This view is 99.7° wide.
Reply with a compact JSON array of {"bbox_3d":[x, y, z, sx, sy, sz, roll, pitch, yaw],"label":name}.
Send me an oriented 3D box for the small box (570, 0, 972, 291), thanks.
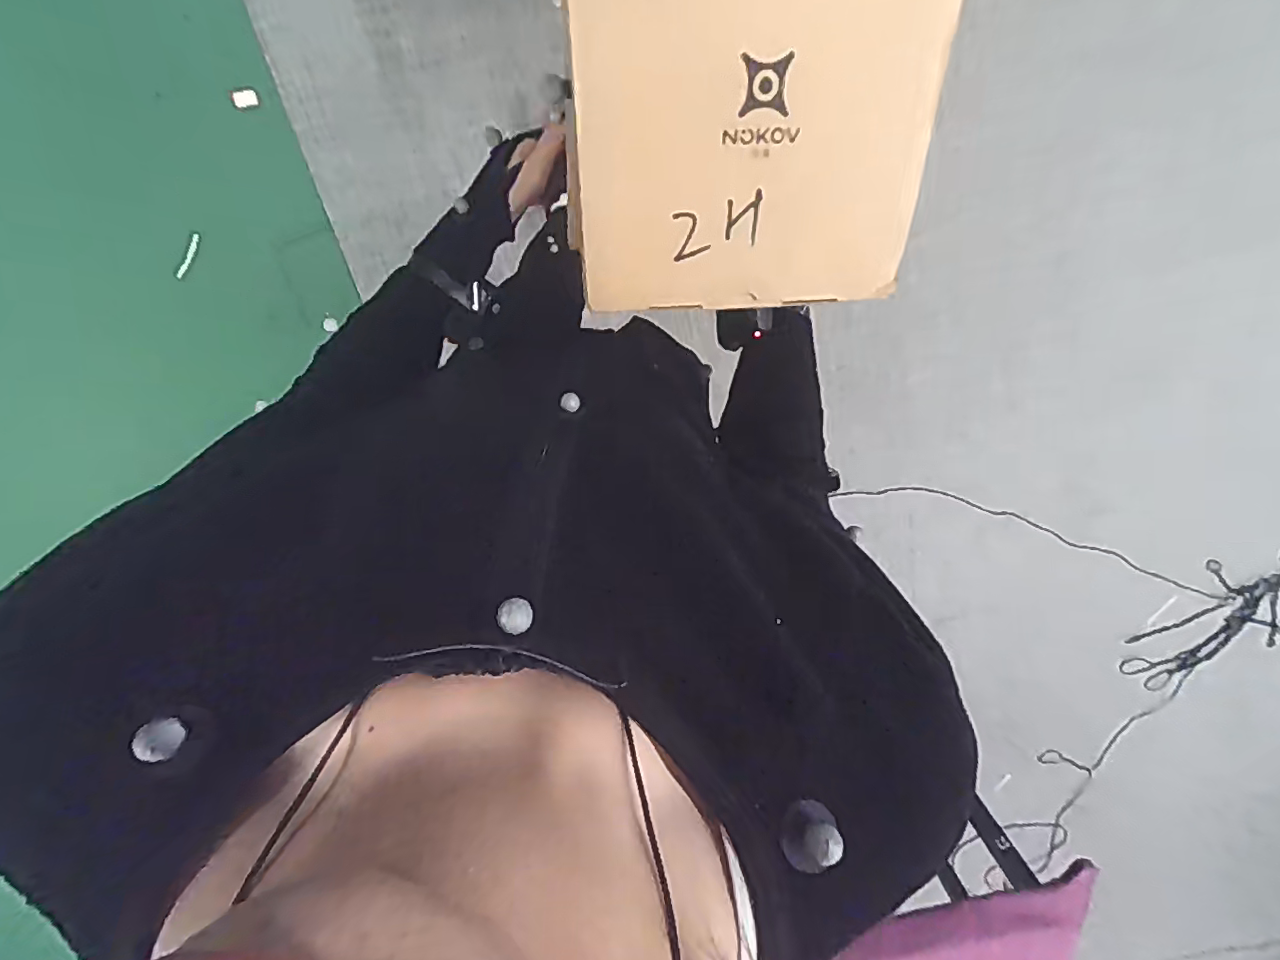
[{"bbox_3d":[0.047,-0.214,0.299,0.168,0.176,0.179,-3,123,-5],"label":"small box"}]
